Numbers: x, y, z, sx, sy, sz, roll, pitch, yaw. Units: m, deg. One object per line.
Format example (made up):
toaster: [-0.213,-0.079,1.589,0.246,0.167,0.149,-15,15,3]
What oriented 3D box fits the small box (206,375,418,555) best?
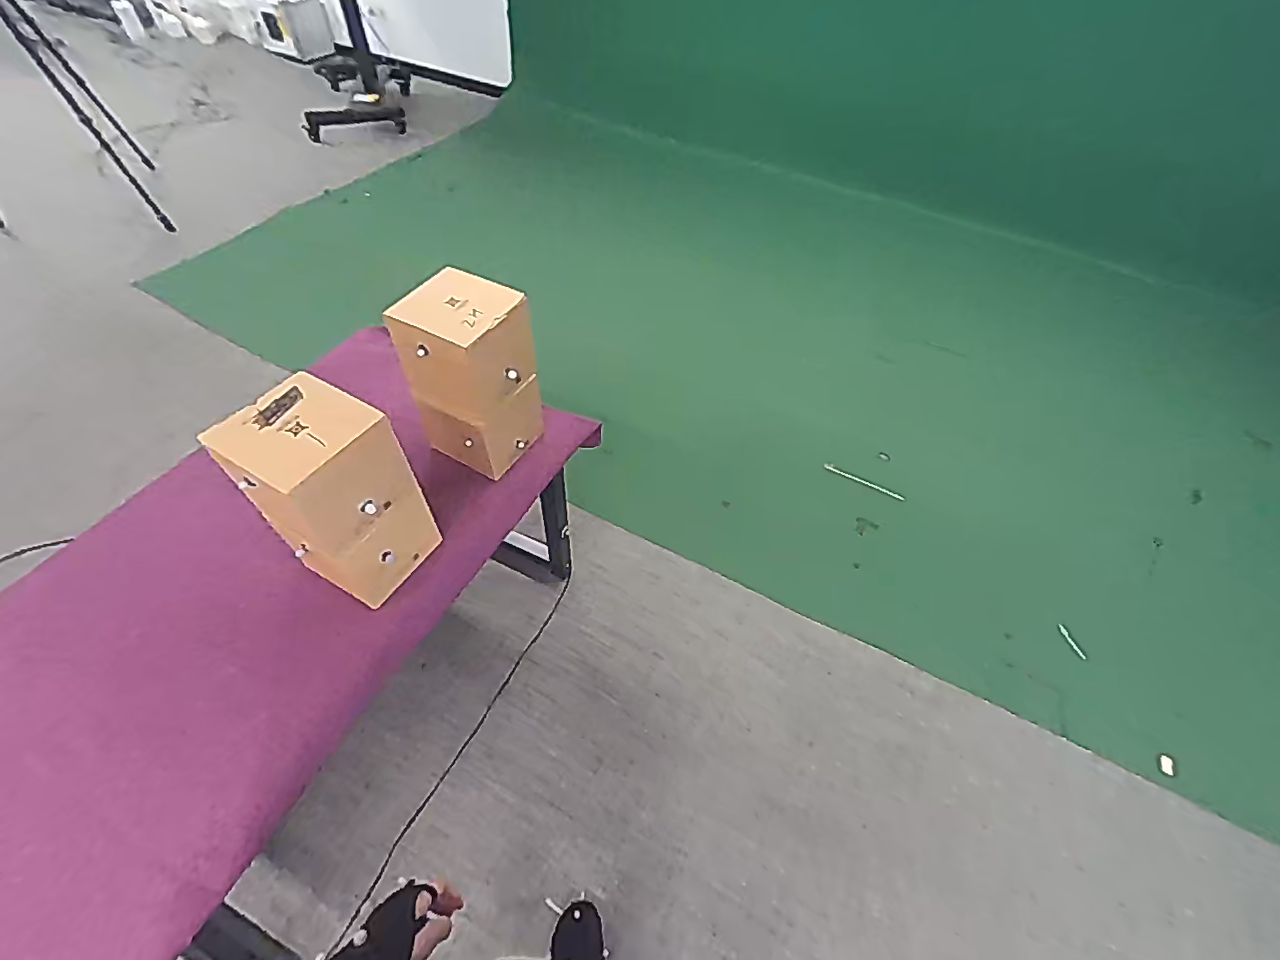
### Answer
small box: [-0.465,-0.018,0.793,0.179,0.176,0.168,26,55,17]

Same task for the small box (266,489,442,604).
small box: [-0.470,0.086,0.920,0.179,0.176,0.168,25,55,17]

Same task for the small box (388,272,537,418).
small box: [-0.307,-0.239,0.972,0.179,0.176,0.168,25,56,15]
